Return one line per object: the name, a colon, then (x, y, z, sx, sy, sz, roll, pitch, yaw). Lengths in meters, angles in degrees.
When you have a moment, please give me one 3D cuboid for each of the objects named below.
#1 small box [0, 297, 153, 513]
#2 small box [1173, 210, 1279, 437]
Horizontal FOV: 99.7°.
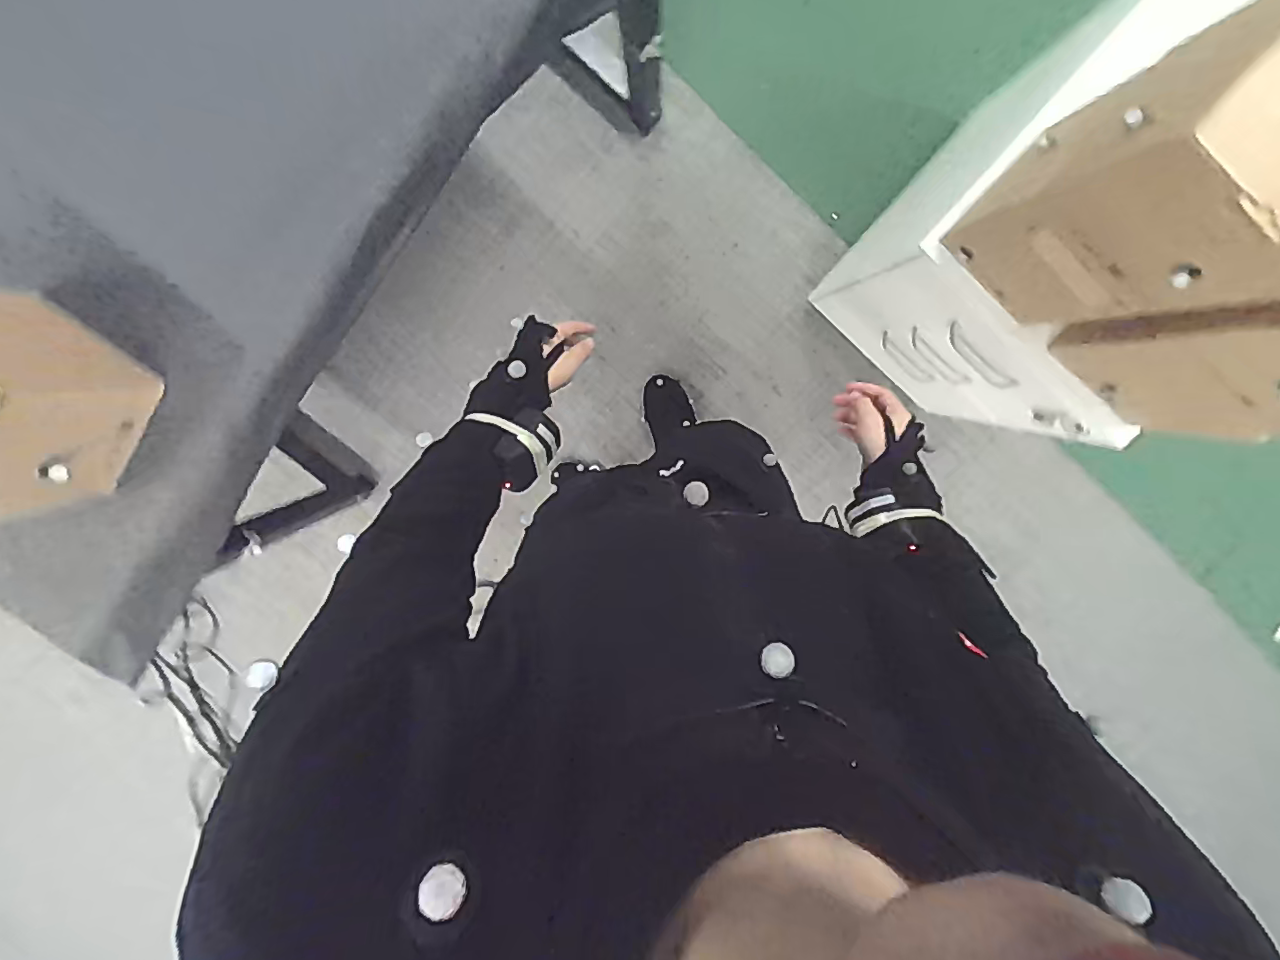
small box: (-0.667, -0.081, 0.549, 0.179, 0.176, 0.168, 36, 100, -5)
small box: (0.630, -0.140, 0.462, 0.168, 0.176, 0.179, 37, 100, -6)
